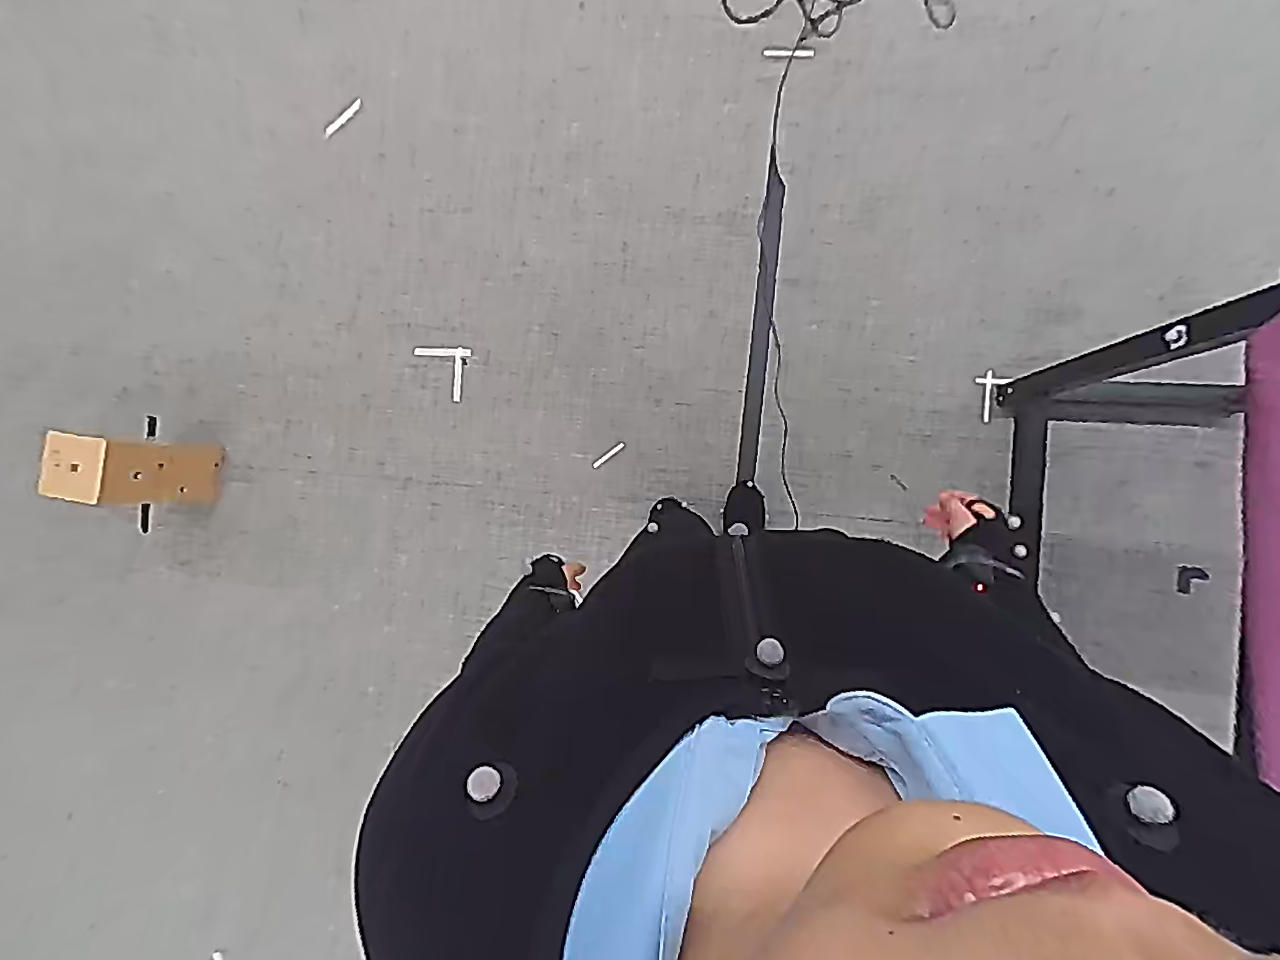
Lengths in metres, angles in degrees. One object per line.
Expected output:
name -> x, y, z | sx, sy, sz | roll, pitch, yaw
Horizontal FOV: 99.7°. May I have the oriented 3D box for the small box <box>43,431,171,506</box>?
small box -> -1.403, -0.030, 1.434 | 0.179, 0.176, 0.168 | 9, 90, 8
